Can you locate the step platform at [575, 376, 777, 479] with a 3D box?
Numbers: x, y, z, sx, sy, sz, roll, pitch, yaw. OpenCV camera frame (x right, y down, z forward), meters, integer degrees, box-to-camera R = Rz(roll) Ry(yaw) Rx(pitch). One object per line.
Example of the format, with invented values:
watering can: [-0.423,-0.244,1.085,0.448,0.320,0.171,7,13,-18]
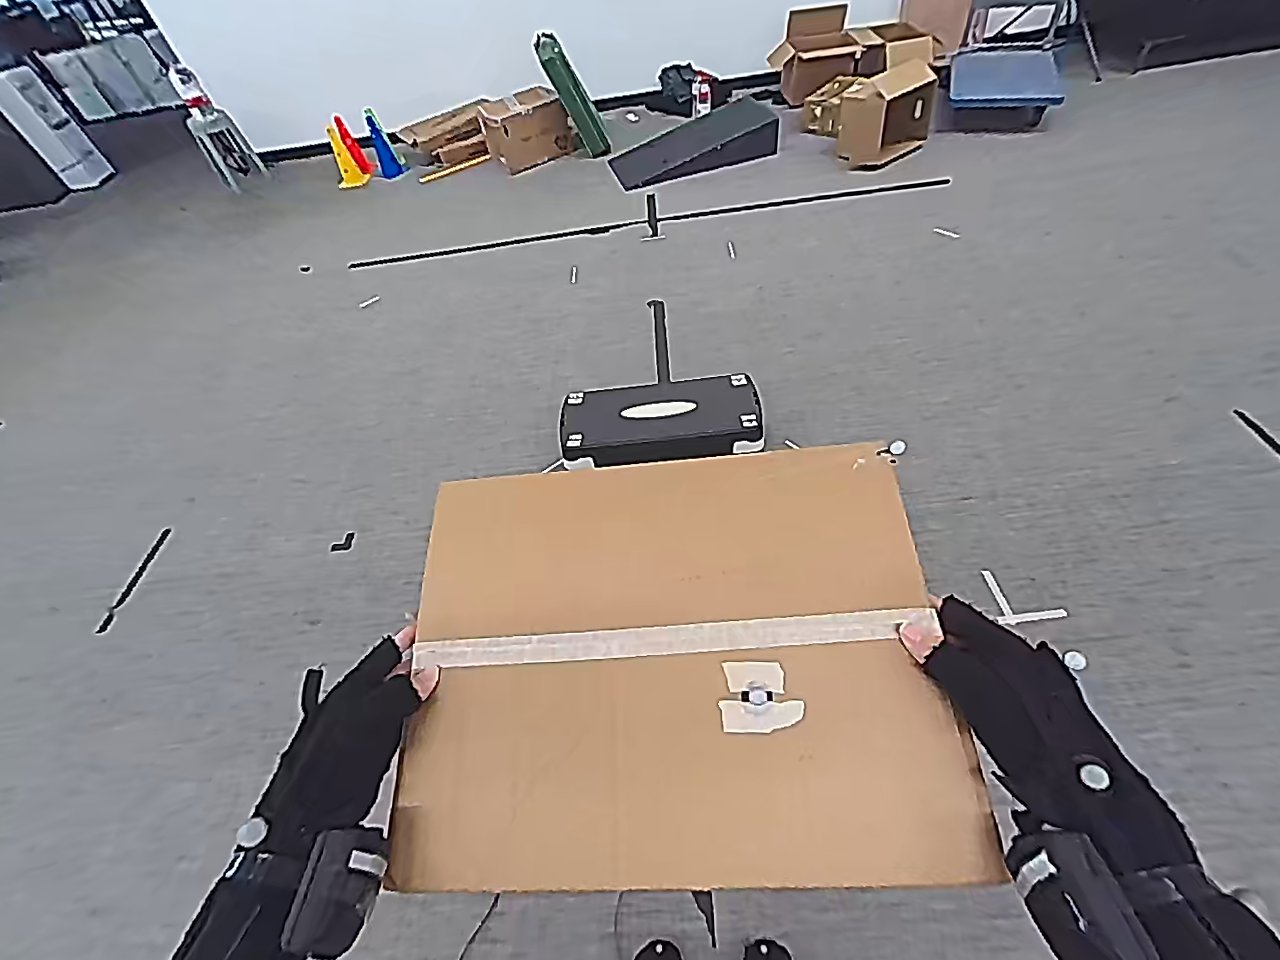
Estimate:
step platform: [0.119,-0.169,1.867,0.684,0.204,0.286,-6,51,3]

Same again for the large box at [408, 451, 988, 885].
large box: [0.040,0.196,0.563,0.408,0.320,0.320,-5,63,6]
